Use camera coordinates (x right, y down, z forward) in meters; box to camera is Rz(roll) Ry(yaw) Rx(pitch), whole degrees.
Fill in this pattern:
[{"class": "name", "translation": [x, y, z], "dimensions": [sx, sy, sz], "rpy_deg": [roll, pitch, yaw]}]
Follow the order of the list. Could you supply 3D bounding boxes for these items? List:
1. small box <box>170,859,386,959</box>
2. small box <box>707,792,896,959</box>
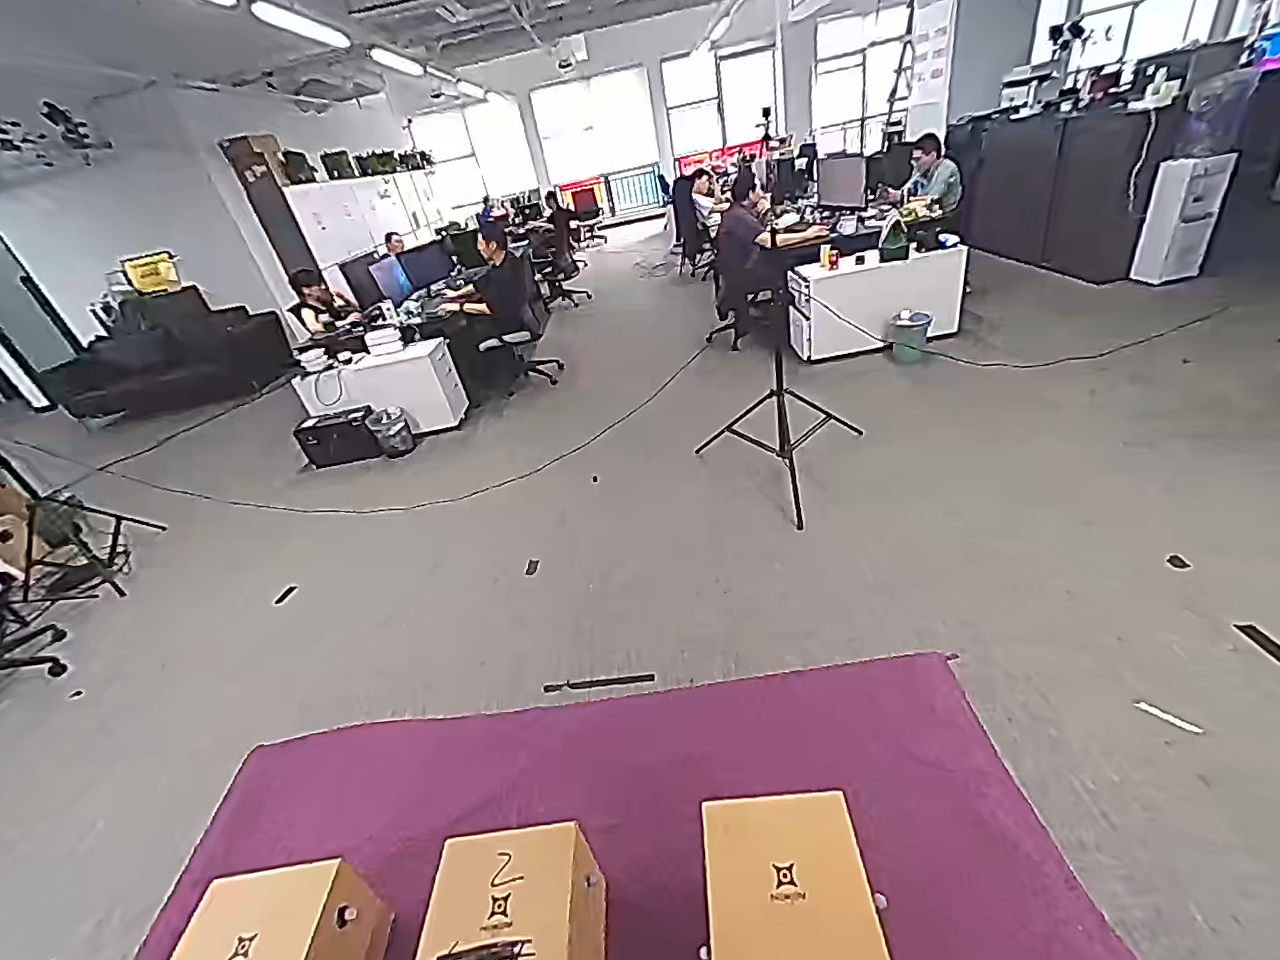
[{"class": "small box", "translation": [-0.424, 0.588, 0.630], "dimensions": [0.168, 0.176, 0.179], "rpy_deg": [-10, 32, 1]}, {"class": "small box", "translation": [0.169, 0.480, 0.595], "dimensions": [0.168, 0.176, 0.179], "rpy_deg": [-9, 31, 7]}]
